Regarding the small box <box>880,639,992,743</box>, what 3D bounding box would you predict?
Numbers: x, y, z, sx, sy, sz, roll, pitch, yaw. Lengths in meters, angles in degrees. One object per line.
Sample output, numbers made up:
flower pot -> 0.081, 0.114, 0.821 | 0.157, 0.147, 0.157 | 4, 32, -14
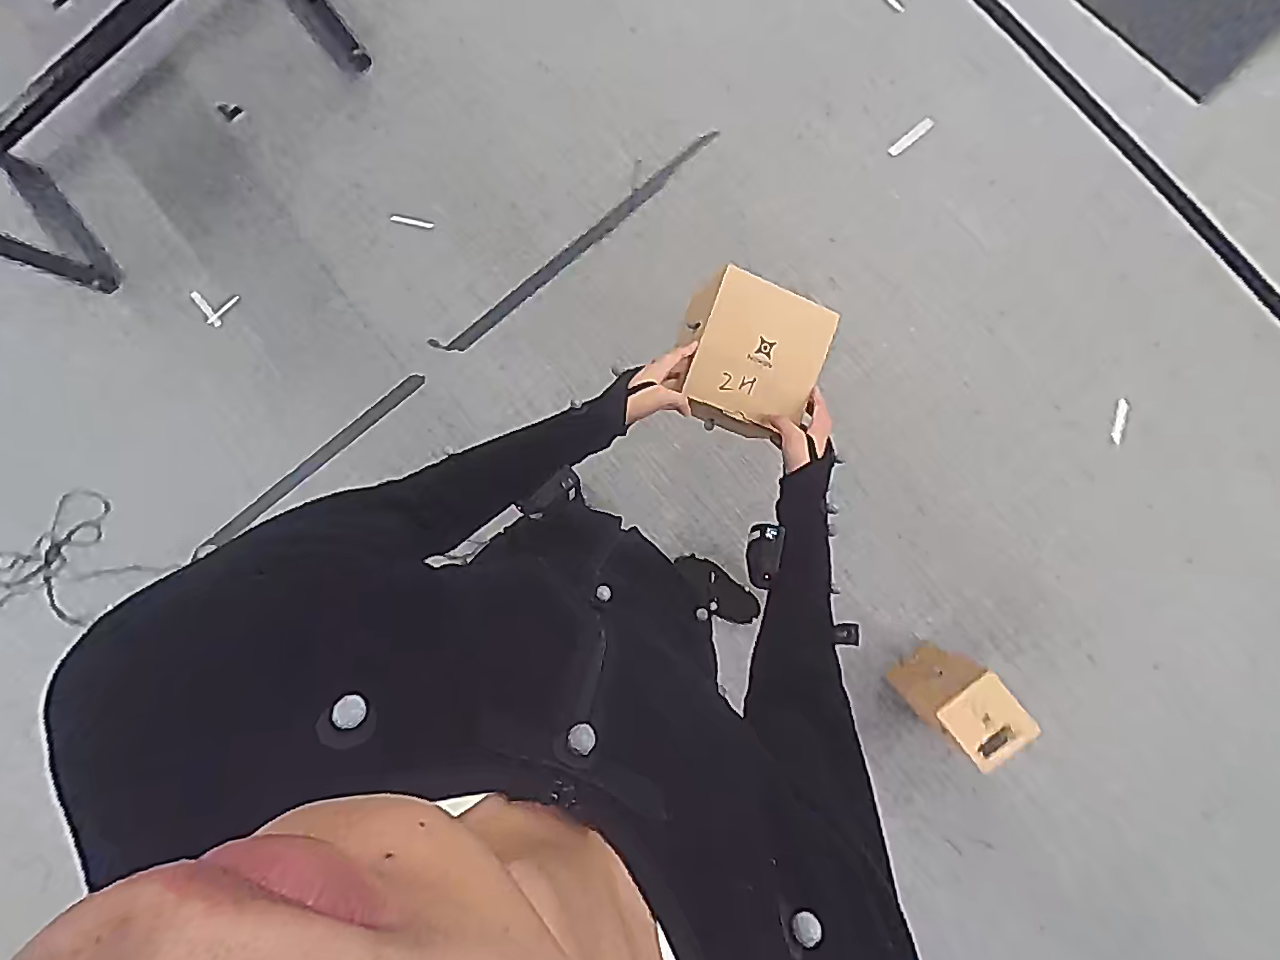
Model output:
small box -> 0.801, 0.568, 1.481 | 0.168, 0.176, 0.179 | -41, 86, 1

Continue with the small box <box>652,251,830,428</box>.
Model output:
small box -> 0.128, -0.182, 0.759 | 0.168, 0.176, 0.179 | 19, 92, -11
